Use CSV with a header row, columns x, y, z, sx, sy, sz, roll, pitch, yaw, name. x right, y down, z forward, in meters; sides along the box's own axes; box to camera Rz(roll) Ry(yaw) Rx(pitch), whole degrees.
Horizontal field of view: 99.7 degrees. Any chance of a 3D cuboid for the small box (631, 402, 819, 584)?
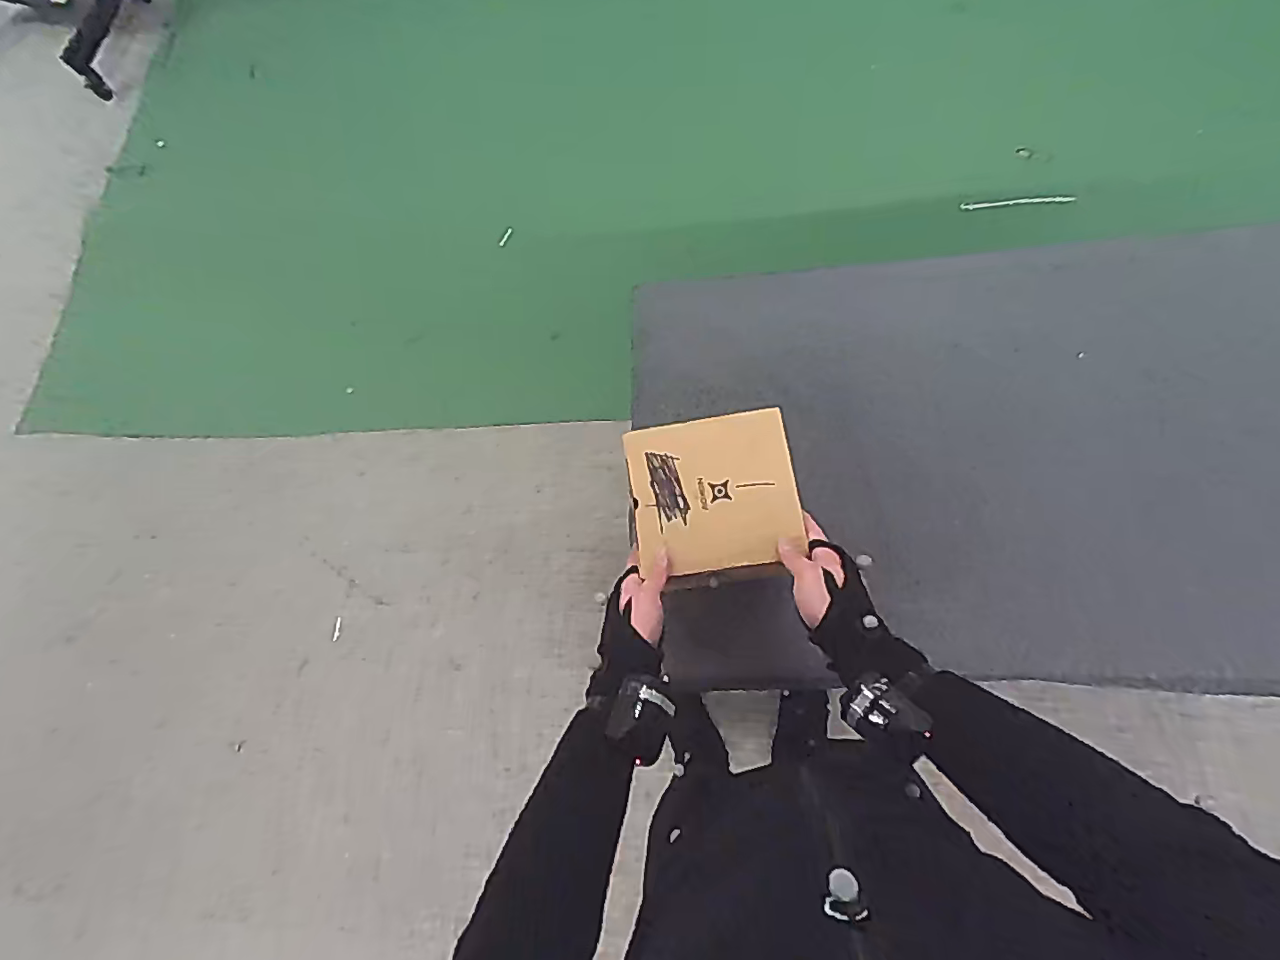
x,y,z,sx,sy,sz,roll,pitch,yaw,name
0.093,0.026,0.636,0.179,0.176,0.168,-8,74,4,small box
